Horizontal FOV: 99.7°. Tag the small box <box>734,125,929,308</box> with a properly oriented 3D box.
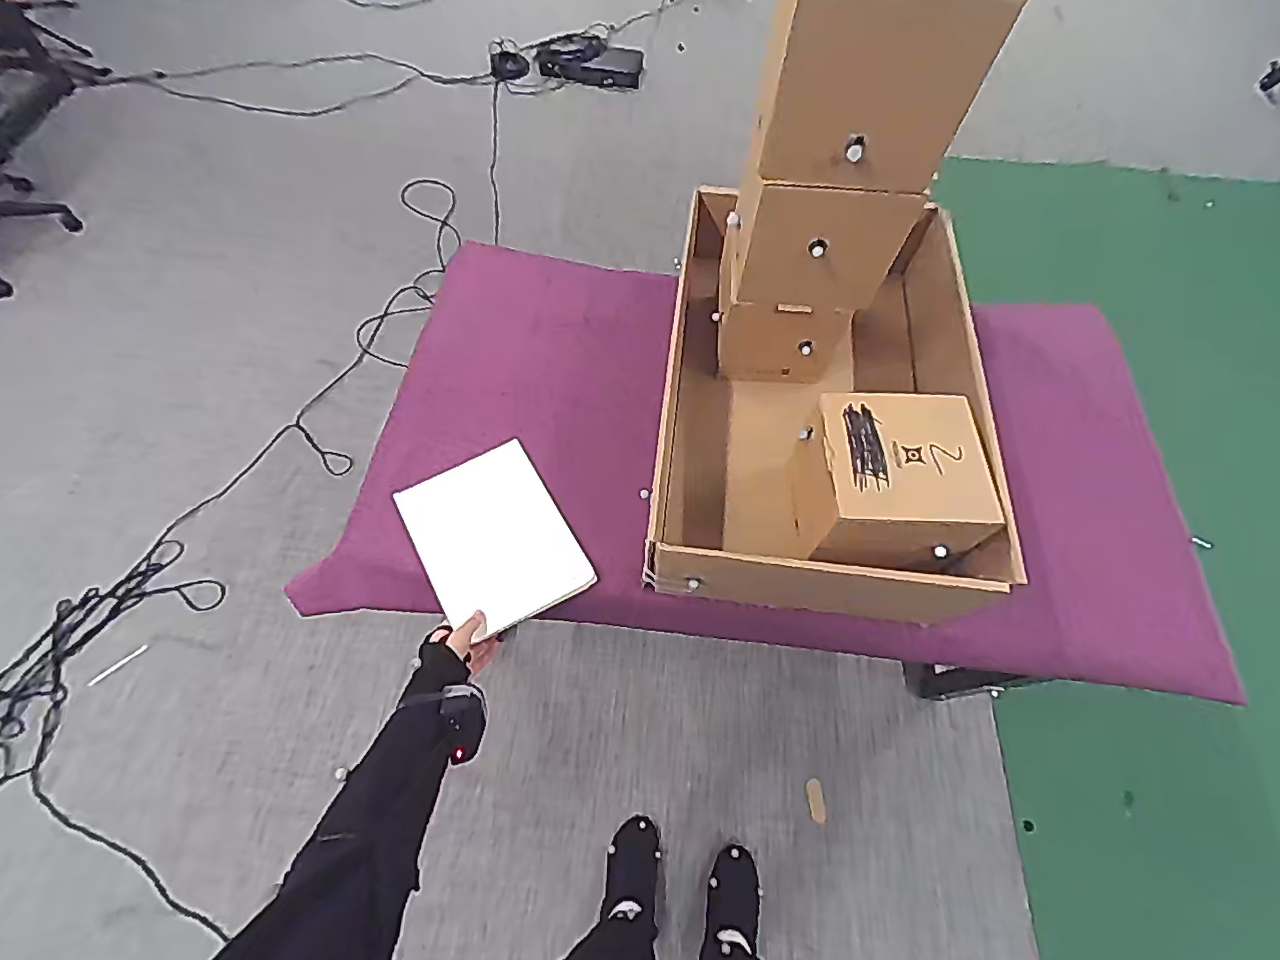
[{"bbox_3d":[0.218,-0.333,0.667,0.179,0.176,0.168,4,63,1],"label":"small box"}]

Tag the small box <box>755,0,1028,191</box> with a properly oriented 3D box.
[{"bbox_3d":[0.219,-0.410,0.522,0.179,0.176,0.168,6,63,1],"label":"small box"}]
